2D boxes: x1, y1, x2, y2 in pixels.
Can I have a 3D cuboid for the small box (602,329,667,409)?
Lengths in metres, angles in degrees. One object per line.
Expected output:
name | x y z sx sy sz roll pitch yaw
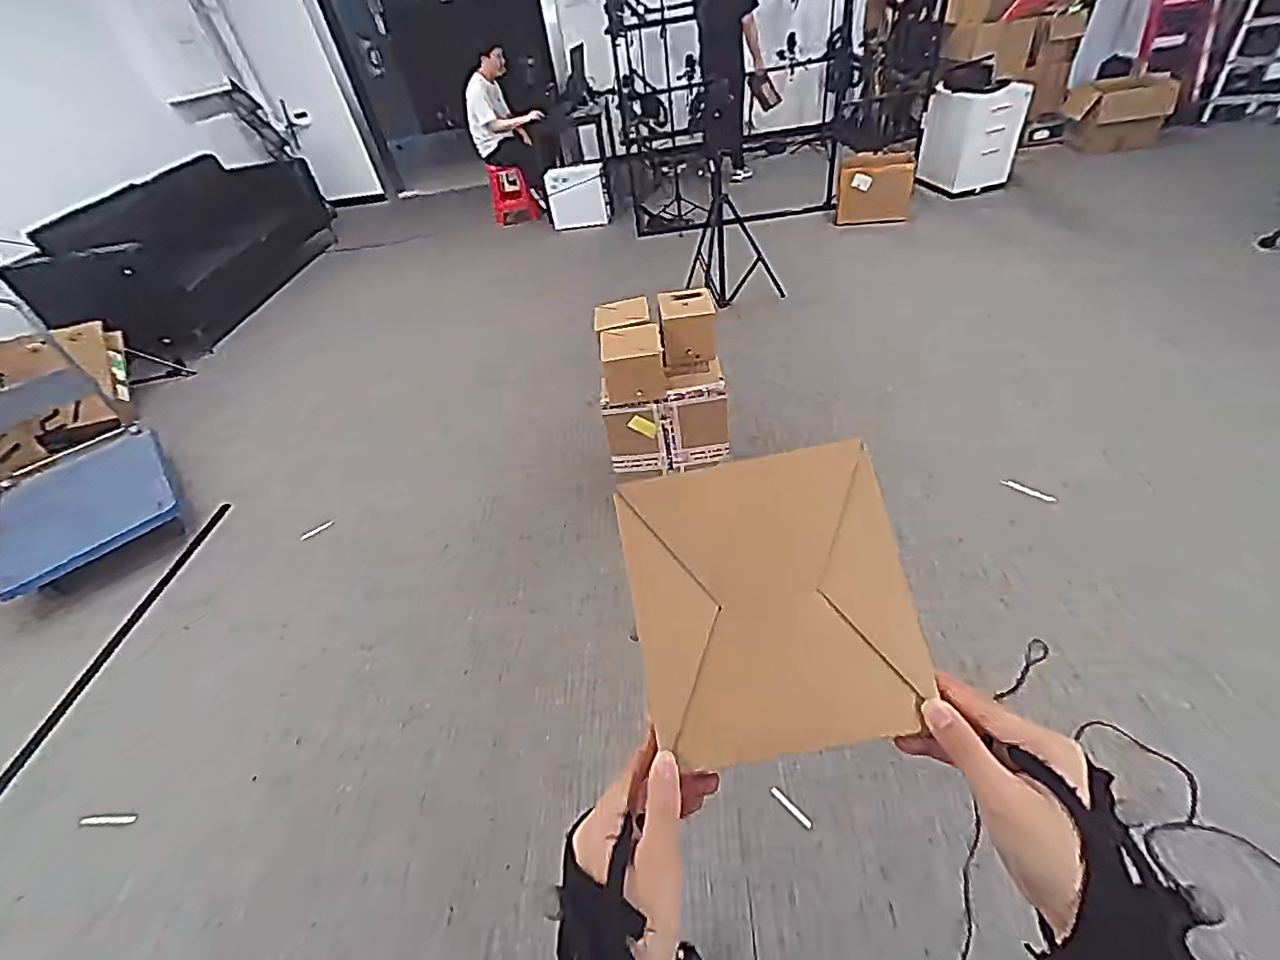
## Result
small box | -0.019 -0.341 1.647 0.179 0.176 0.168 -8 45 3

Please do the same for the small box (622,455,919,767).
small box | 0.083 0.096 0.414 0.168 0.176 0.179 -11 77 1
